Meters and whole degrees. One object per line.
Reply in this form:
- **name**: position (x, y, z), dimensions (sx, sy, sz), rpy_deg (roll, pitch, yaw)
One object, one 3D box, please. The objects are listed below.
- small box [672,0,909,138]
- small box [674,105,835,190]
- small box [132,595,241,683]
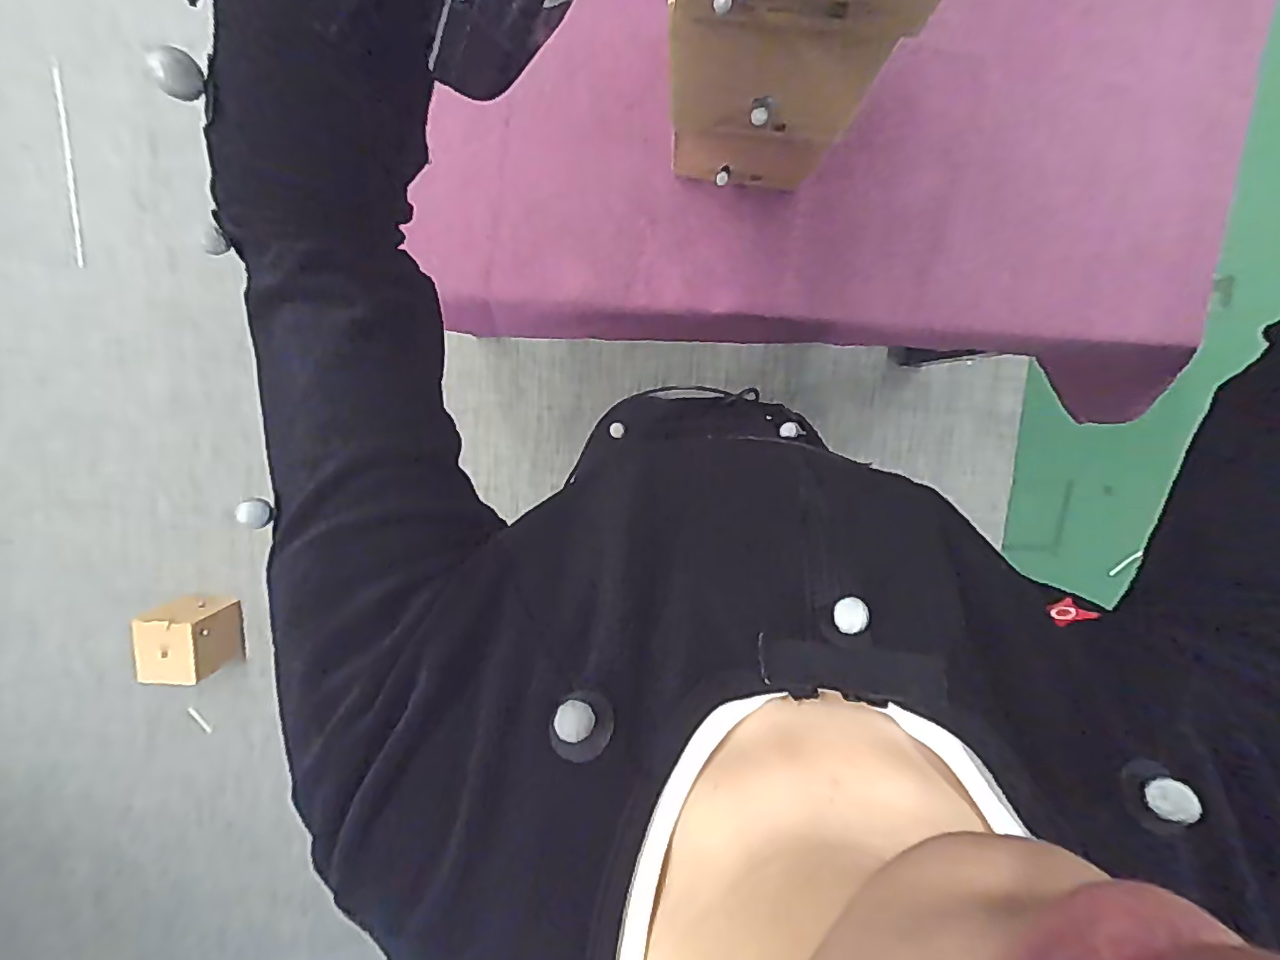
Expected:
- **small box**: position (0.116, -0.416, 0.436), dimensions (0.168, 0.176, 0.179), rpy_deg (7, 98, 3)
- **small box**: position (0.130, -0.453, 0.596), dimensions (0.168, 0.176, 0.179), rpy_deg (8, 98, 2)
- **small box**: position (-1.252, 0.438, 1.506), dimensions (0.168, 0.176, 0.179), rpy_deg (3, 98, 2)
